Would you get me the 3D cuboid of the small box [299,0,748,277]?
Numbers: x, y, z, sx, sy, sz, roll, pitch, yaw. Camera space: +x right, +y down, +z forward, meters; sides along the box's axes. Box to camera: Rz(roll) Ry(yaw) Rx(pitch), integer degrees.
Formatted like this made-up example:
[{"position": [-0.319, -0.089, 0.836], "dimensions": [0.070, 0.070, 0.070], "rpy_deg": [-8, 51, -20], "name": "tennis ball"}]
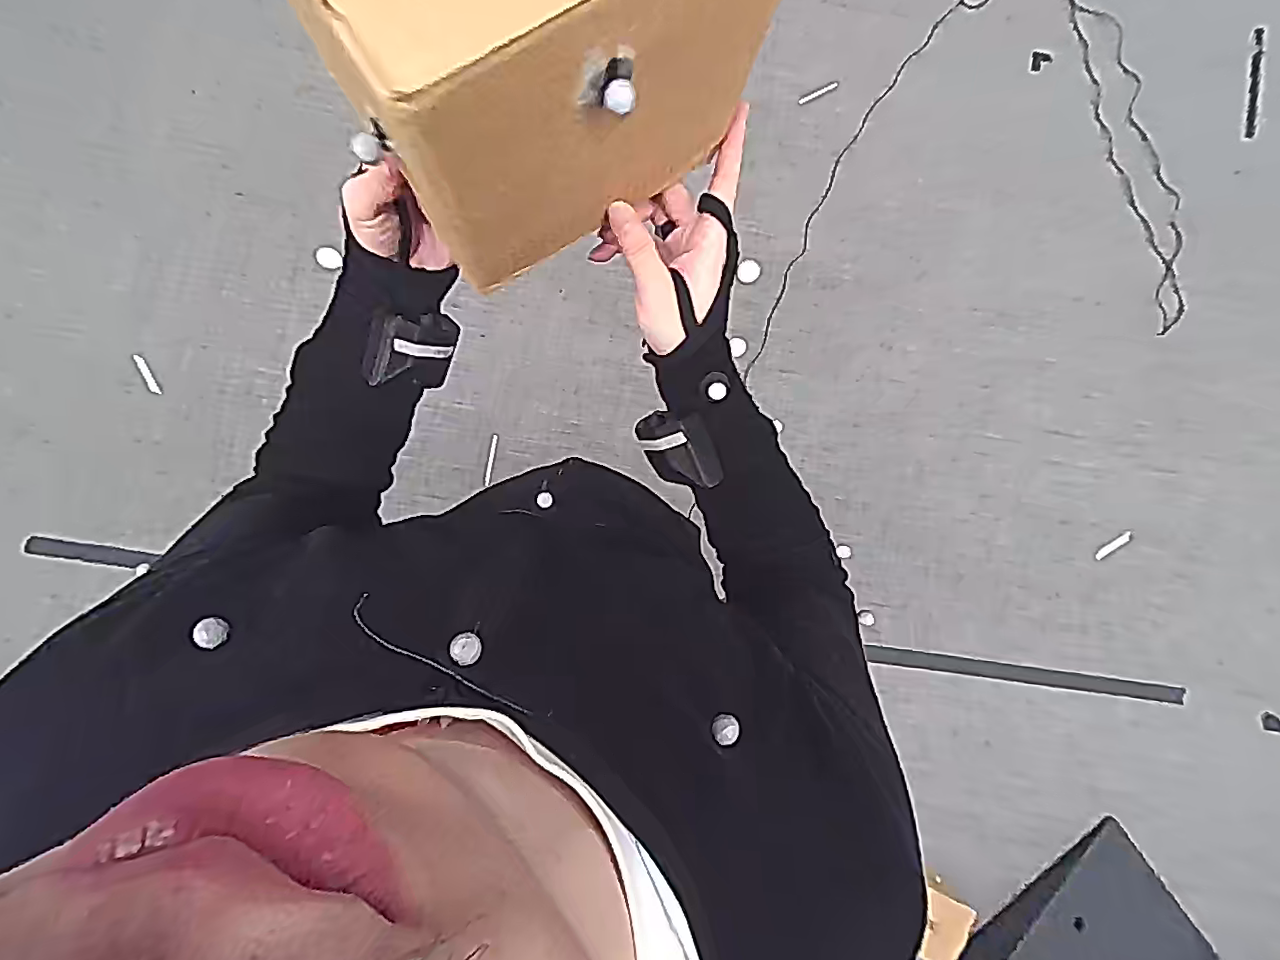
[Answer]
[{"position": [-0.060, -0.234, 0.263], "dimensions": [0.179, 0.176, 0.168], "rpy_deg": [-36, 94, -6], "name": "small box"}]
